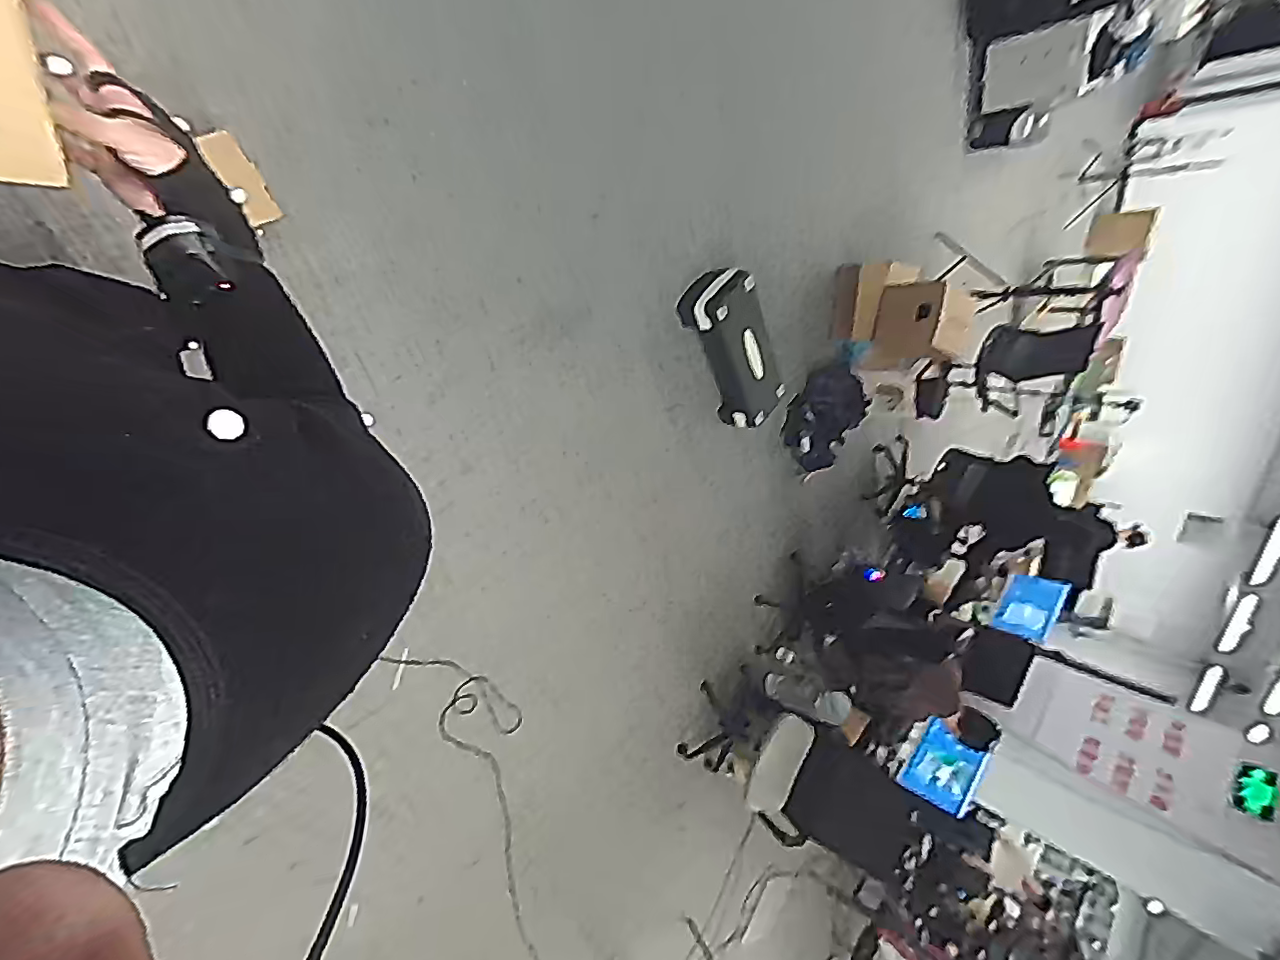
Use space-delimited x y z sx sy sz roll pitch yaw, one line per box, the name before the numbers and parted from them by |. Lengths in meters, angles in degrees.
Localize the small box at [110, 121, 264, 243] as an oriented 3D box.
small box | -0.914 -0.594 1.090 0.179 0.176 0.168 -41 129 -28
